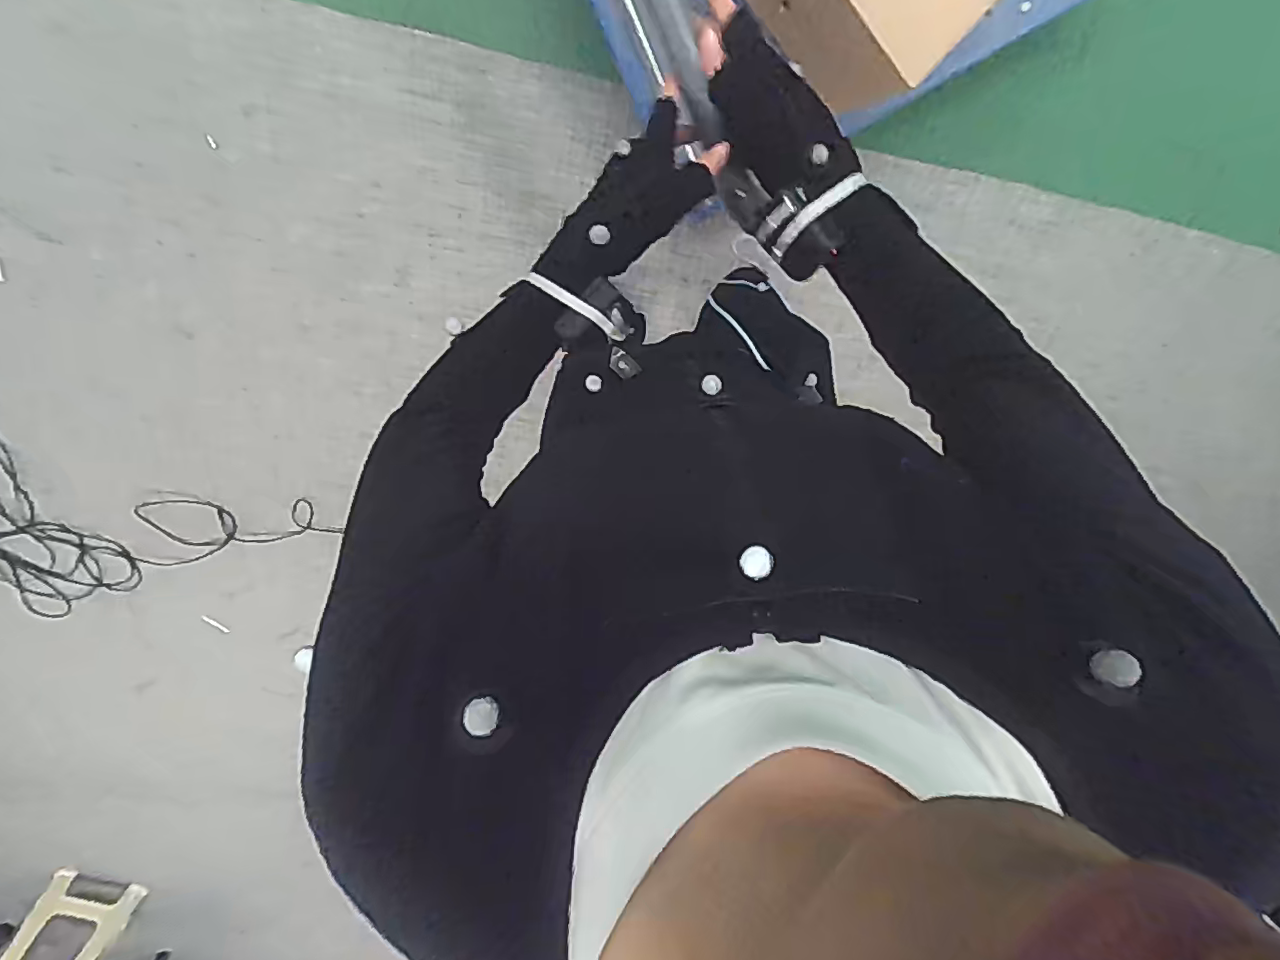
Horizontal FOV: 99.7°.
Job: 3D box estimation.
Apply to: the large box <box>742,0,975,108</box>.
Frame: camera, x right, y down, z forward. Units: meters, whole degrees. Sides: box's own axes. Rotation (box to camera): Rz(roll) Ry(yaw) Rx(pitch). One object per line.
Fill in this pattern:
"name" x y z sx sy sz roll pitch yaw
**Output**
"large box" 0.315 -0.842 0.780 0.408 0.320 0.320 38 110 -20
